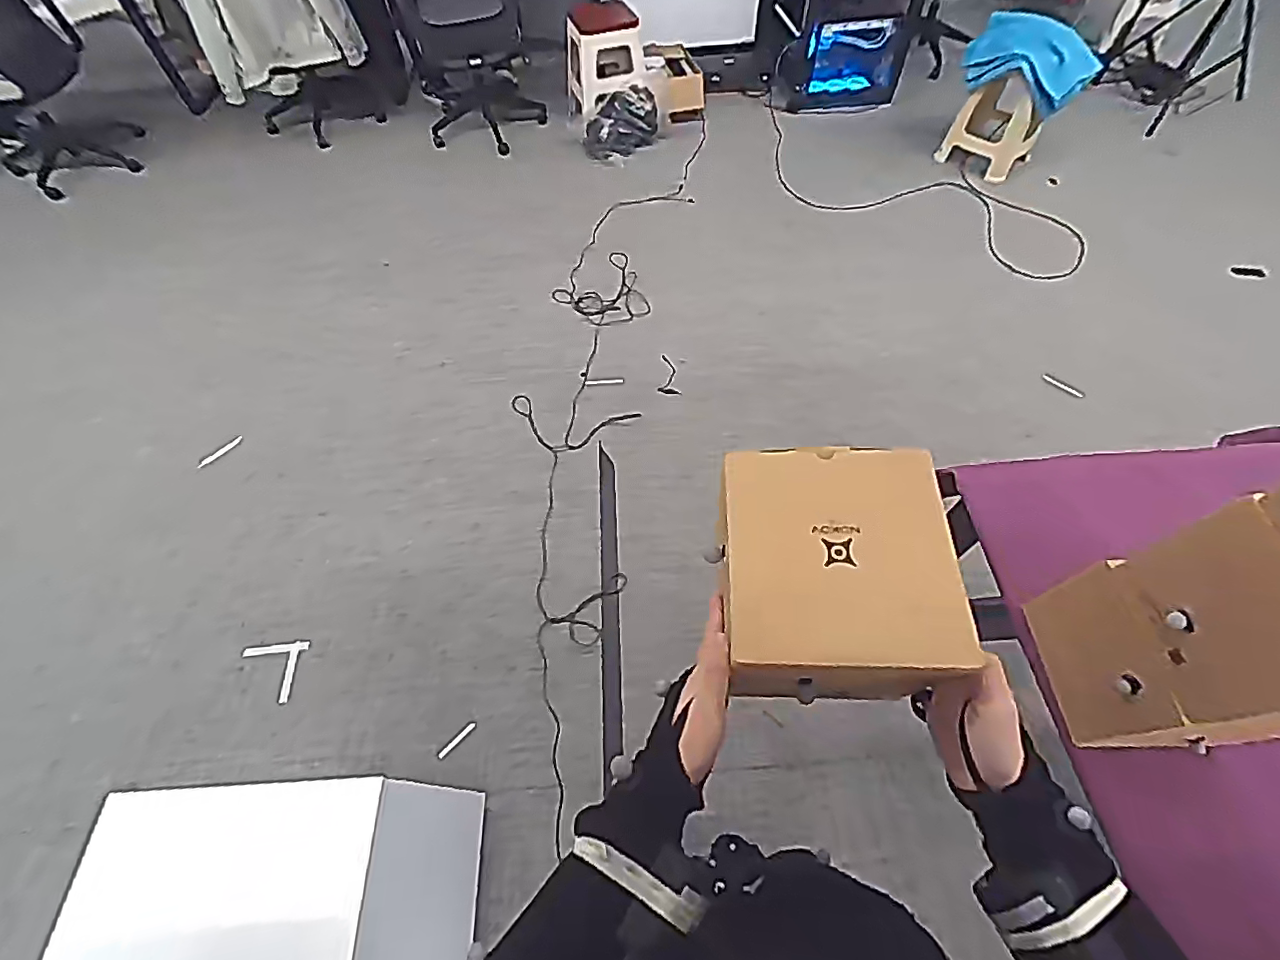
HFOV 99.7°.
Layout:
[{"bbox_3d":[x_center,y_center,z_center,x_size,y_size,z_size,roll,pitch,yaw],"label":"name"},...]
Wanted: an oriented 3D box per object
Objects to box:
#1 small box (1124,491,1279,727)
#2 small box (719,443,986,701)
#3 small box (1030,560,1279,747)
[{"bbox_3d":[0.608,0.120,0.481,0.179,0.176,0.168,-2,58,2],"label":"small box"},{"bbox_3d":[0.156,0.088,0.468,0.168,0.176,0.179,-2,59,6],"label":"small box"},{"bbox_3d":[0.603,0.204,0.622,0.168,0.176,0.179,0,58,1],"label":"small box"}]
